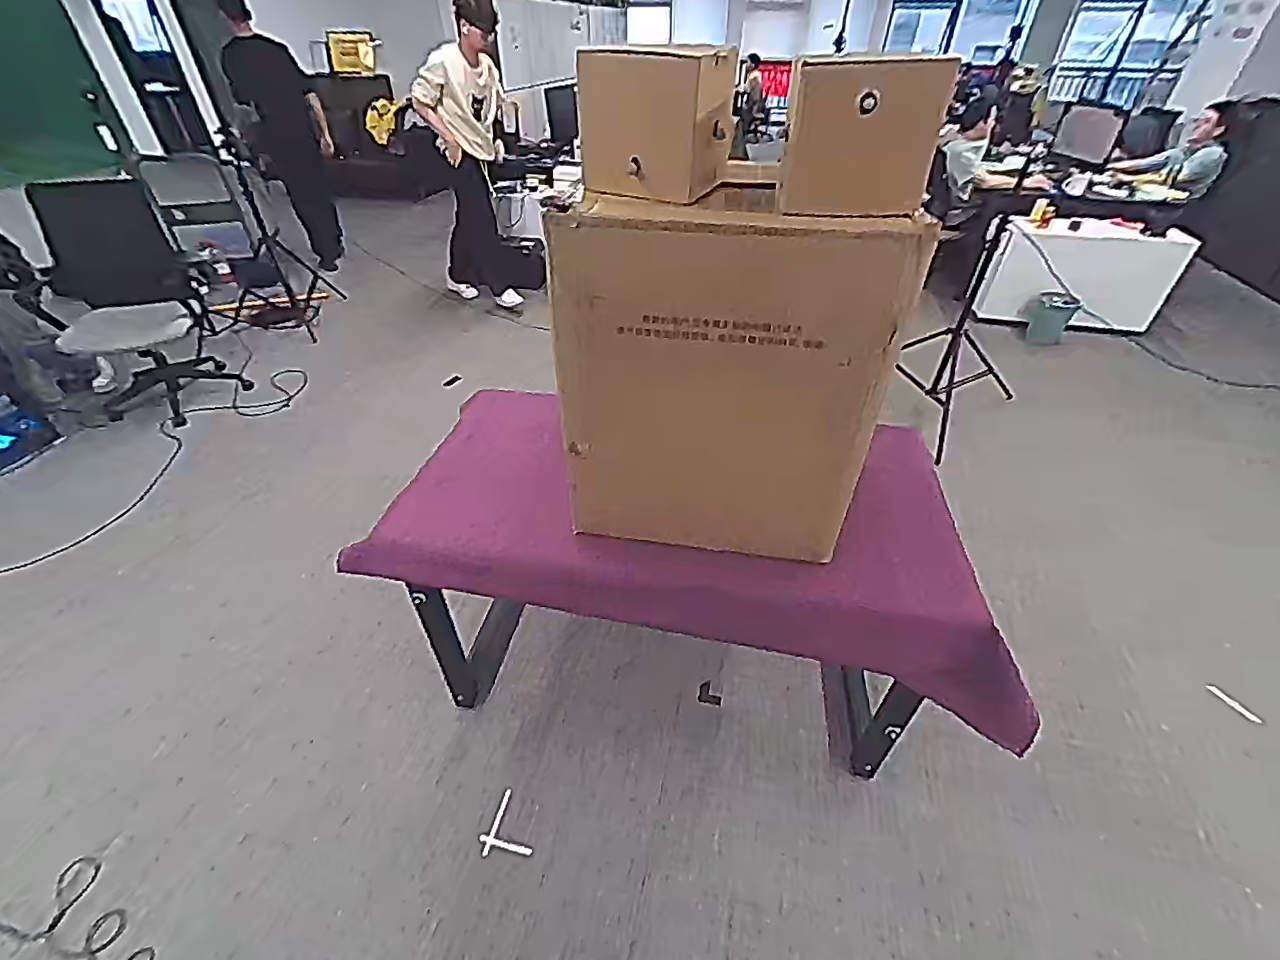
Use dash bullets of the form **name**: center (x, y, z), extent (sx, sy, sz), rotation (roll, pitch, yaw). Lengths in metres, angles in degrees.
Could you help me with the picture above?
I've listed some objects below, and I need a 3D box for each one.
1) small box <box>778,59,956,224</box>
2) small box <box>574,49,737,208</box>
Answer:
- **small box**: center (0.282, -0.452, 0.723), extent (0.179, 0.176, 0.168), rotation (5, 41, 7)
- **small box**: center (0.024, -0.508, 0.783), extent (0.179, 0.176, 0.168), rotation (18, 44, 18)
